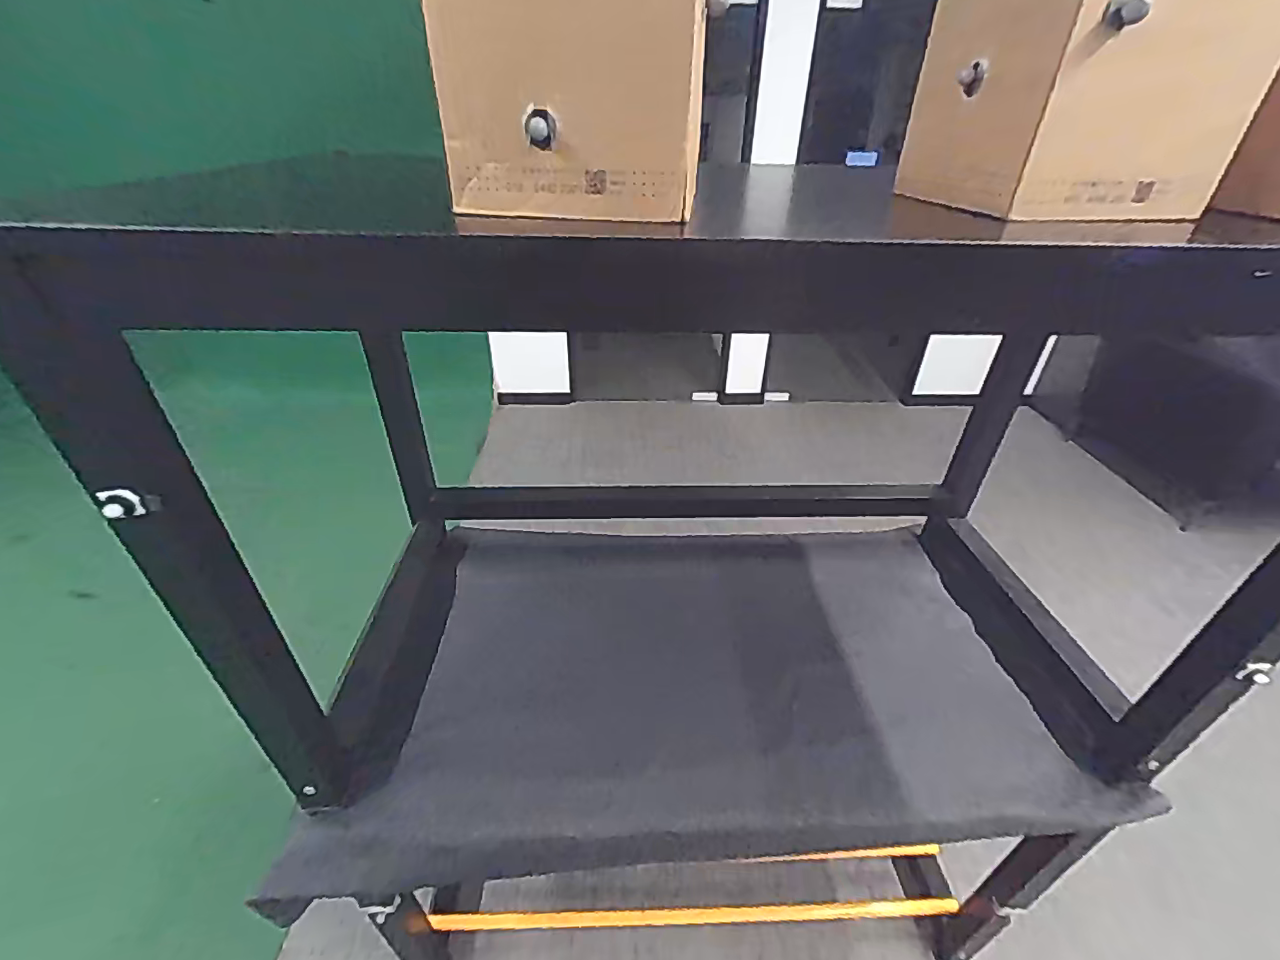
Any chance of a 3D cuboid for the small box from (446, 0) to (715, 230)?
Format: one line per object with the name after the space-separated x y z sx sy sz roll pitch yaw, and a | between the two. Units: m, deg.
-0.034 -0.296 0.404 0.168 0.176 0.179 5 34 4 | small box
